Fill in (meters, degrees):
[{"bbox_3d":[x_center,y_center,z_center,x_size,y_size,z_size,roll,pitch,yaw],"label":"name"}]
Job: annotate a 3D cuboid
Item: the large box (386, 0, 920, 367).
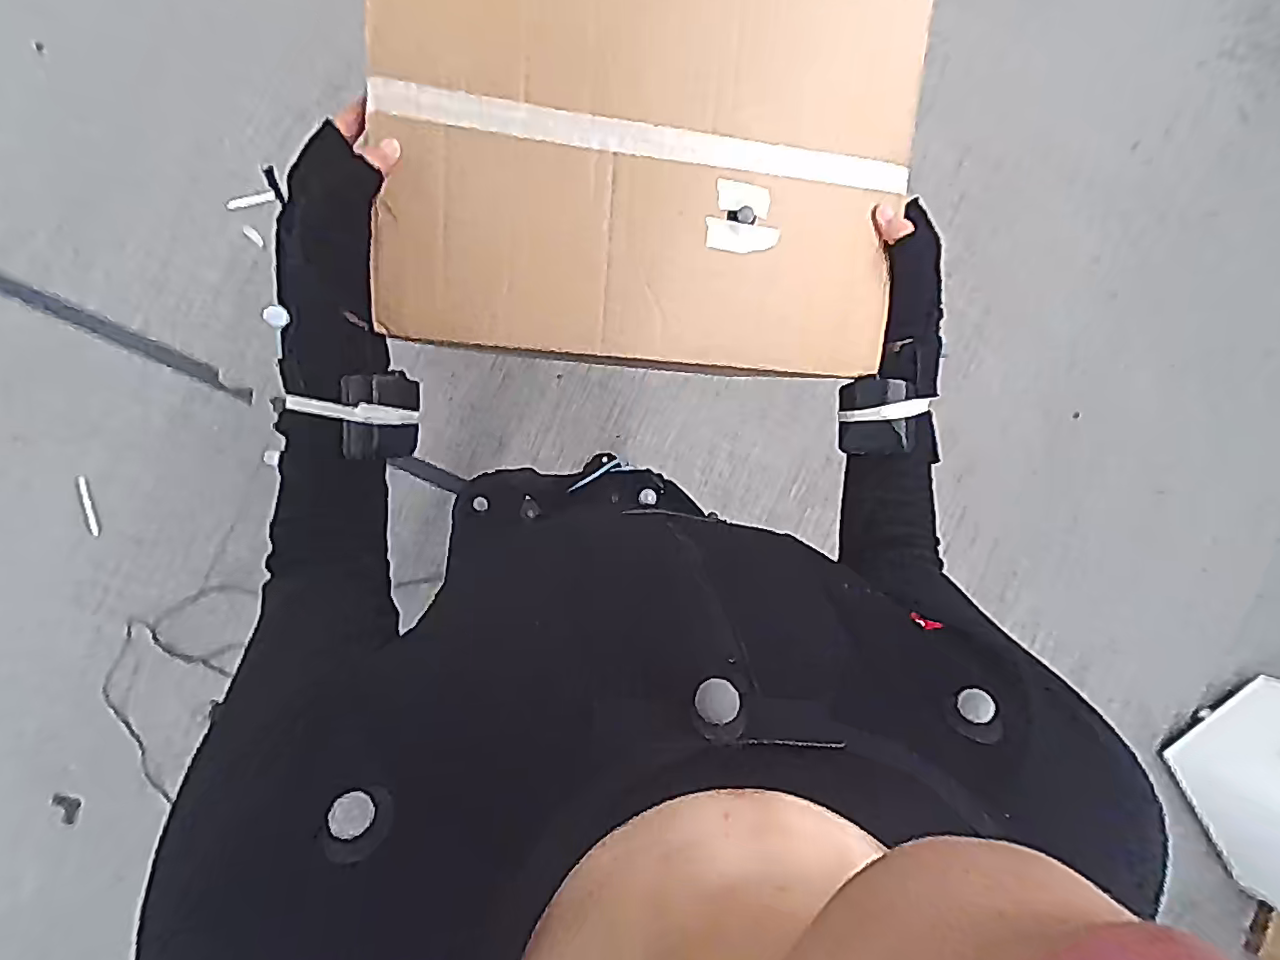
[{"bbox_3d":[-0.011,-0.287,0.555,0.408,0.320,0.320,3,102,-12],"label":"large box"}]
